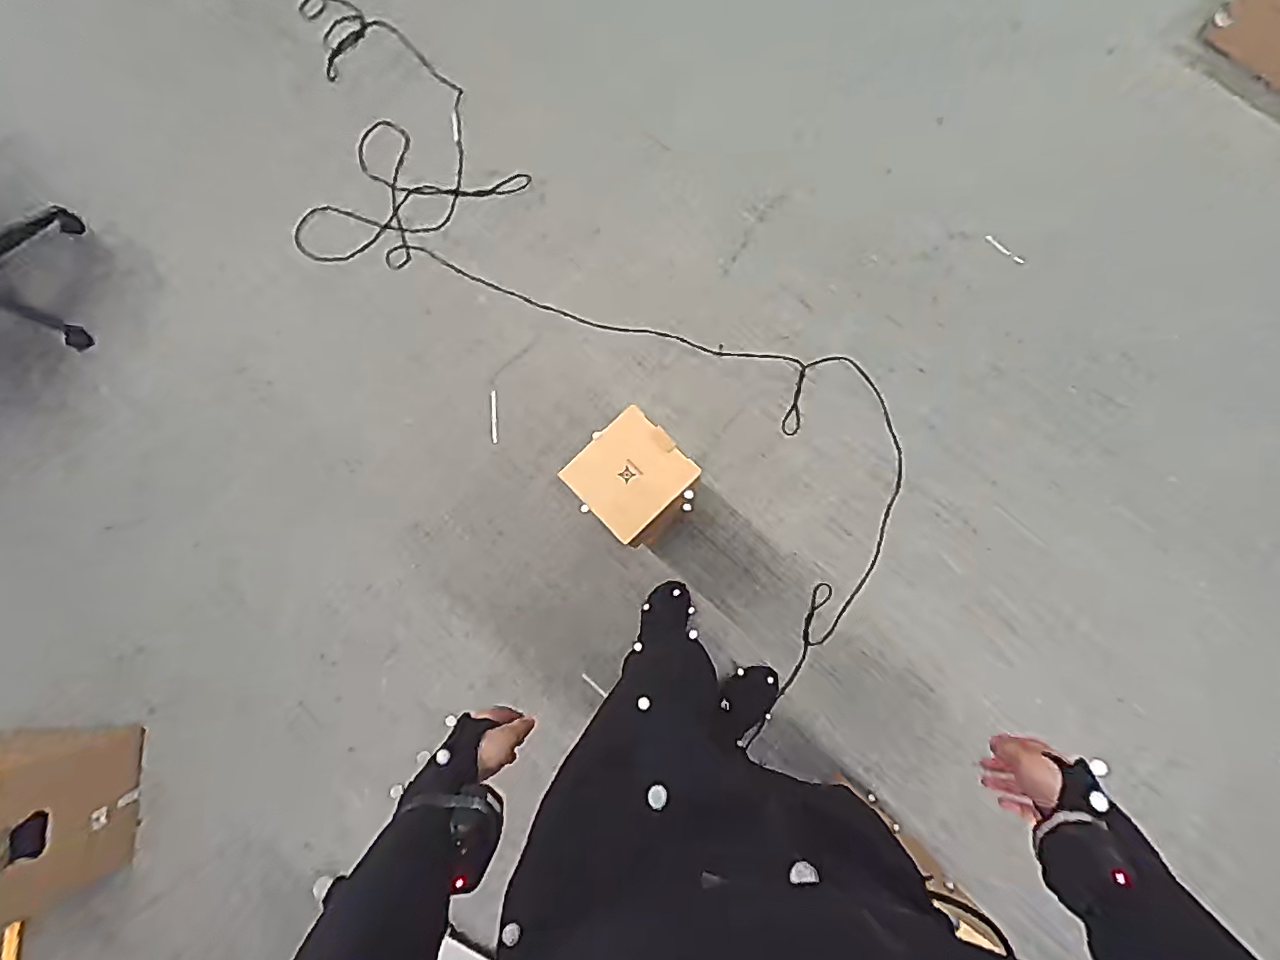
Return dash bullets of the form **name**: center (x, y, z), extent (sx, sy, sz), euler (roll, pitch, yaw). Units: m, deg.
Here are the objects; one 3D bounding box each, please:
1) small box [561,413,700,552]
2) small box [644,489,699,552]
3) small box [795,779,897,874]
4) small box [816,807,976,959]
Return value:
- **small box**: center (-0.010, 0.015, 0.962), extent (0.179, 0.176, 0.168), euler (-44, 81, -4)
- **small box**: center (0.020, 0.054, 1.285), extent (0.168, 0.176, 0.179), euler (39, 85, 9)
- **small box**: center (0.457, 0.772, 1.148), extent (0.179, 0.176, 0.168), euler (40, 87, 9)
- **small box**: center (0.451, 0.740, 0.988), extent (0.179, 0.176, 0.168), euler (37, 87, 7)
